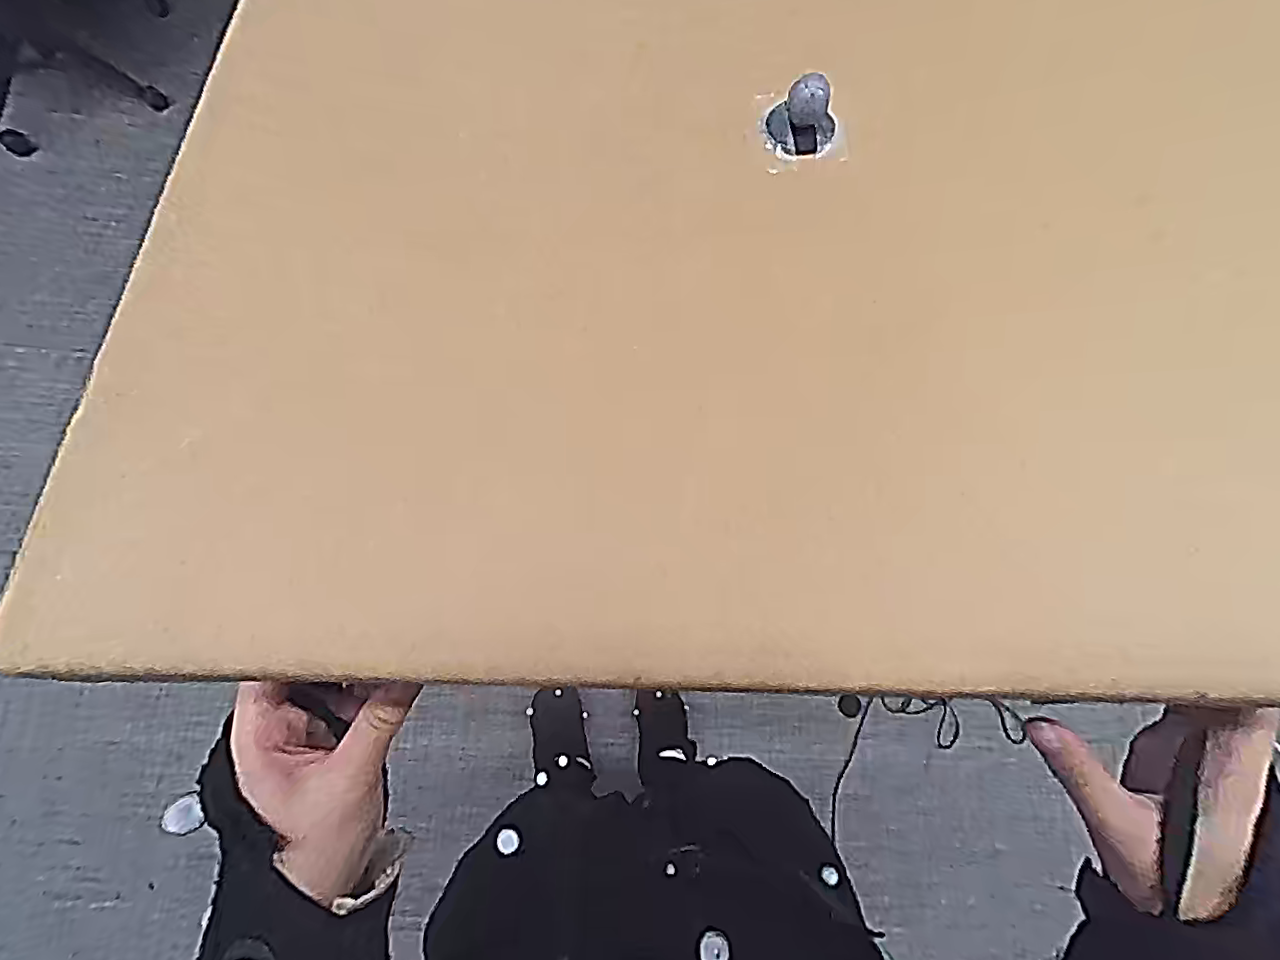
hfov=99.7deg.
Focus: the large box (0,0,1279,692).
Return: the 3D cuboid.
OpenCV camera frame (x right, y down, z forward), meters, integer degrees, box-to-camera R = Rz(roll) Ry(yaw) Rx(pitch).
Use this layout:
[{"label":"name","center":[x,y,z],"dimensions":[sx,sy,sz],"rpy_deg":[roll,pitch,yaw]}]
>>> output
[{"label":"large box","center":[0.034,-0.052,0.310],"dimensions":[0.408,0.320,0.320],"rpy_deg":[-1,73,2]}]
